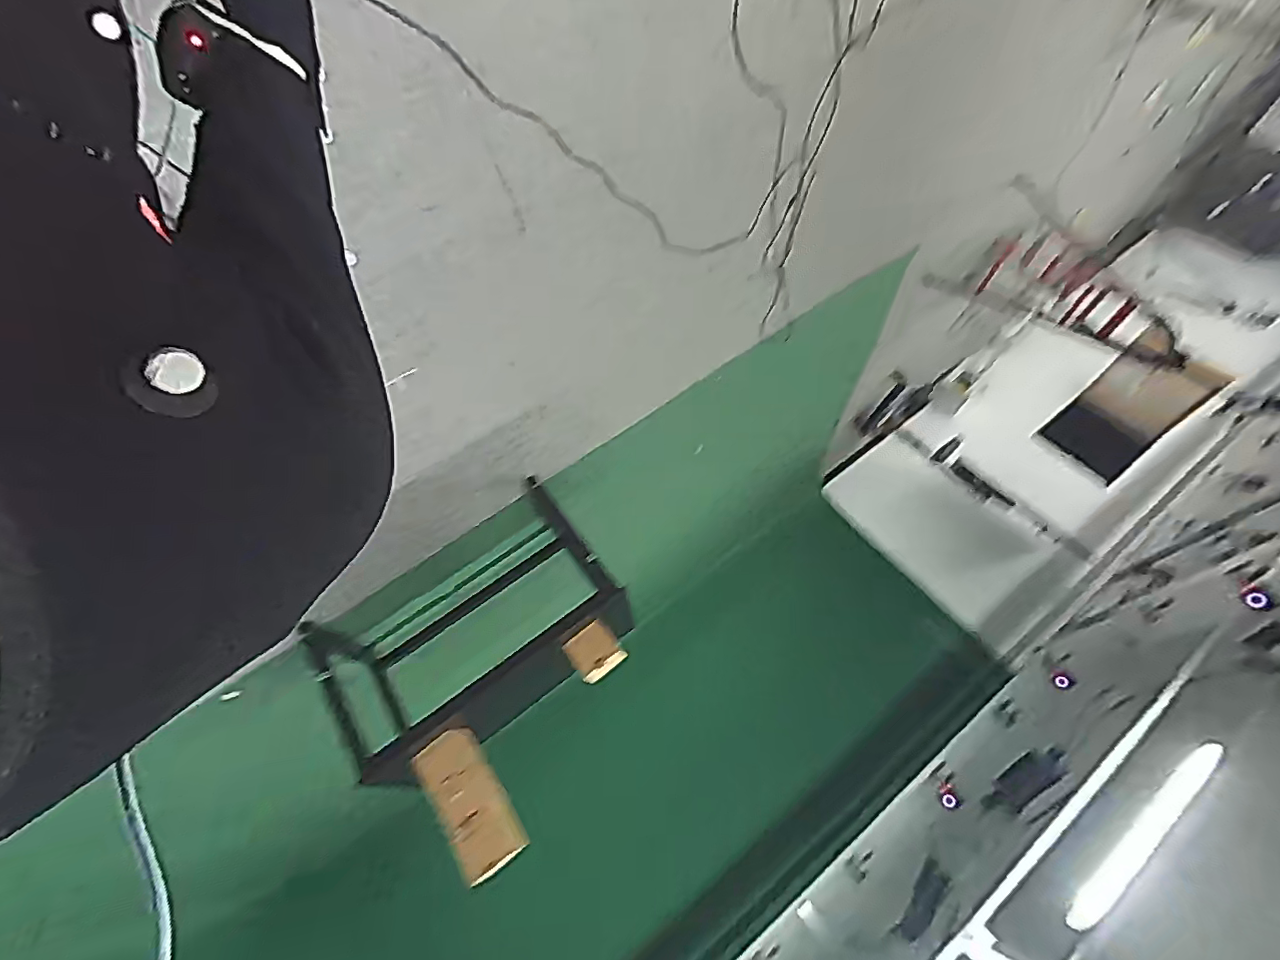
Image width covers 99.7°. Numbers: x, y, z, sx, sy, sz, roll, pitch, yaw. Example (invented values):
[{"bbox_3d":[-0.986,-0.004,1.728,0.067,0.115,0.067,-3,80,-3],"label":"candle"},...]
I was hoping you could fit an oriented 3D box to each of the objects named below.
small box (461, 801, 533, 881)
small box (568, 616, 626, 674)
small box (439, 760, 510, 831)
[{"bbox_3d":[-0.533,1.332,2.008,0.168,0.176,0.179,-38,156,-7],"label":"small box"},{"bbox_3d":[-0.185,0.711,2.328,0.168,0.176,0.179,-38,153,-6],"label":"small box"},{"bbox_3d":[-0.636,1.206,2.085,0.168,0.176,0.179,-39,155,-8],"label":"small box"}]
